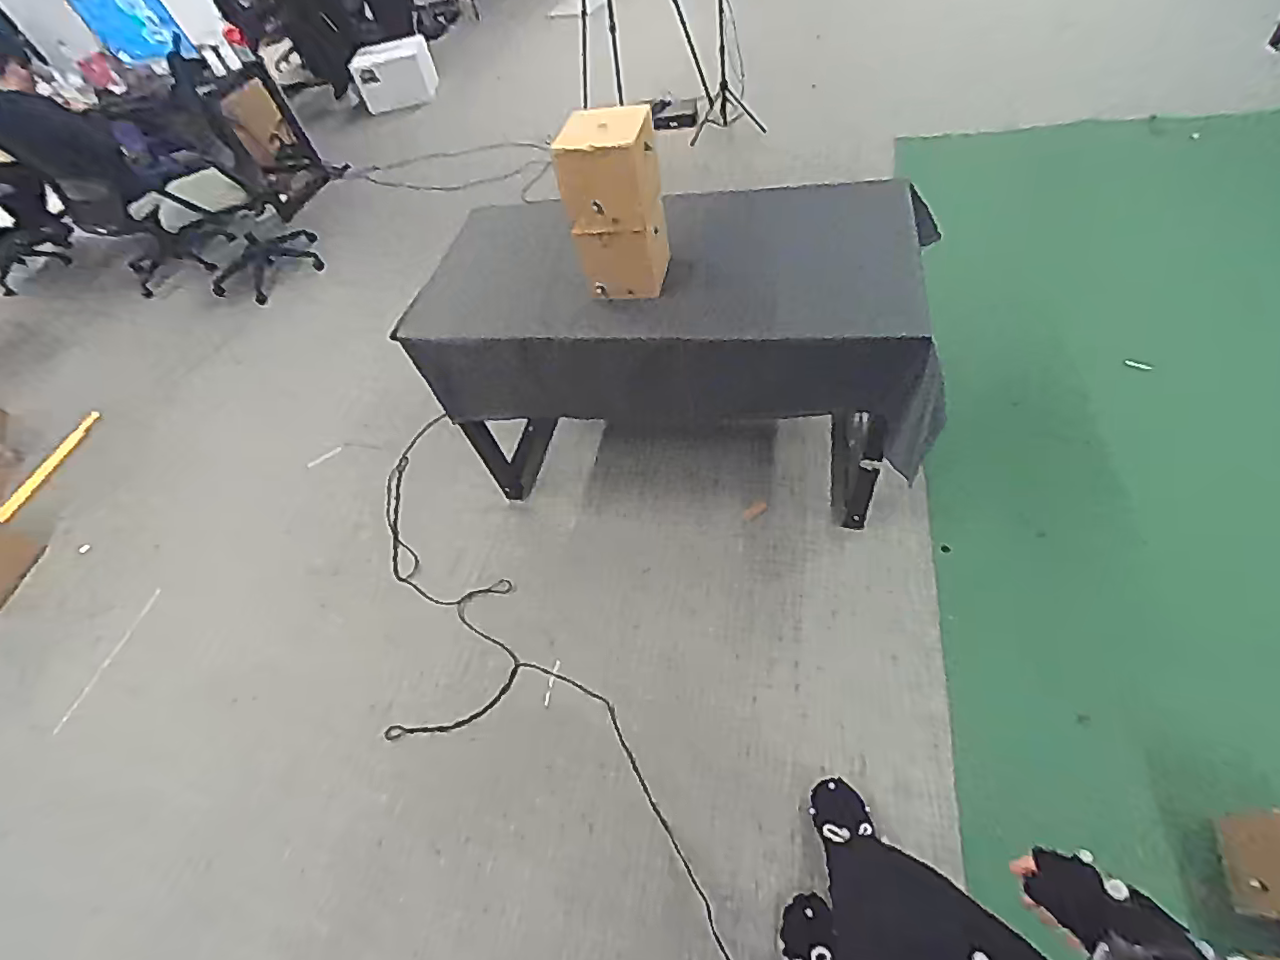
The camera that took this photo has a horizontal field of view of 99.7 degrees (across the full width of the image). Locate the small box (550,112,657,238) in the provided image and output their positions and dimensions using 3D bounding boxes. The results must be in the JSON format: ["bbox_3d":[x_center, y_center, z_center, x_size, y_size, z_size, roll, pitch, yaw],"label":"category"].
[{"bbox_3d":[-0.064,-0.625,1.116,0.168,0.176,0.179,4,55,15],"label":"small box"}]

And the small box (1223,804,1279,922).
[{"bbox_3d":[1.211,0.706,0.967,0.179,0.176,0.168,8,56,18],"label":"small box"}]

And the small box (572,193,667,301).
[{"bbox_3d":[-0.037,-0.530,1.245,0.168,0.176,0.179,3,54,15],"label":"small box"}]
